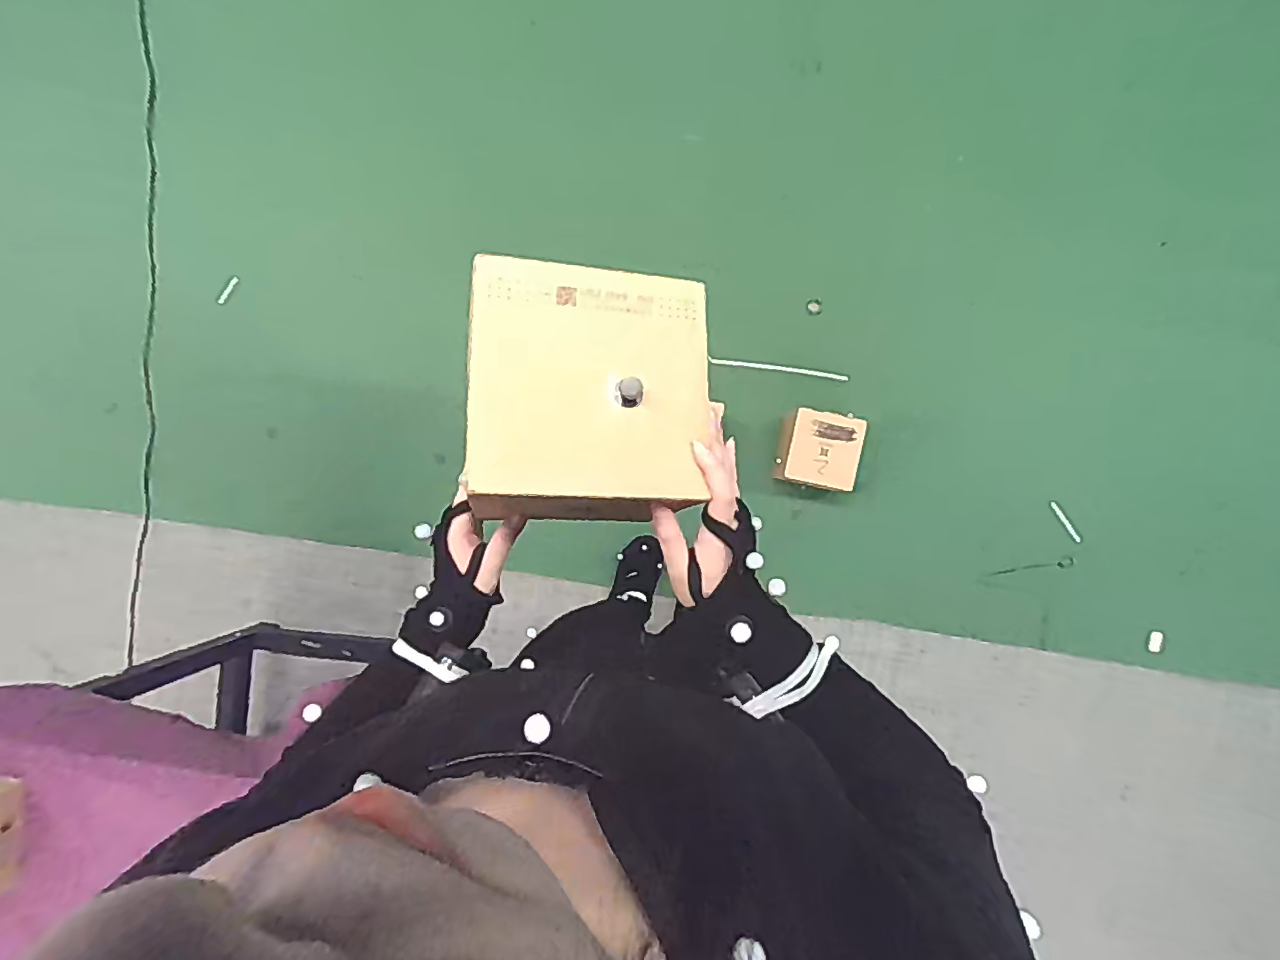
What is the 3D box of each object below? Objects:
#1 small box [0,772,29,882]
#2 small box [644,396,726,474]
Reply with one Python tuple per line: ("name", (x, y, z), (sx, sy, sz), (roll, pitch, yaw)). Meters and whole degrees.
("small box", (-1.012, 0.509, 0.730), (0.179, 0.176, 0.168), (7, 91, 1))
("small box", (0.115, -0.110, 1.392), (0.179, 0.176, 0.168), (10, 90, 5))
